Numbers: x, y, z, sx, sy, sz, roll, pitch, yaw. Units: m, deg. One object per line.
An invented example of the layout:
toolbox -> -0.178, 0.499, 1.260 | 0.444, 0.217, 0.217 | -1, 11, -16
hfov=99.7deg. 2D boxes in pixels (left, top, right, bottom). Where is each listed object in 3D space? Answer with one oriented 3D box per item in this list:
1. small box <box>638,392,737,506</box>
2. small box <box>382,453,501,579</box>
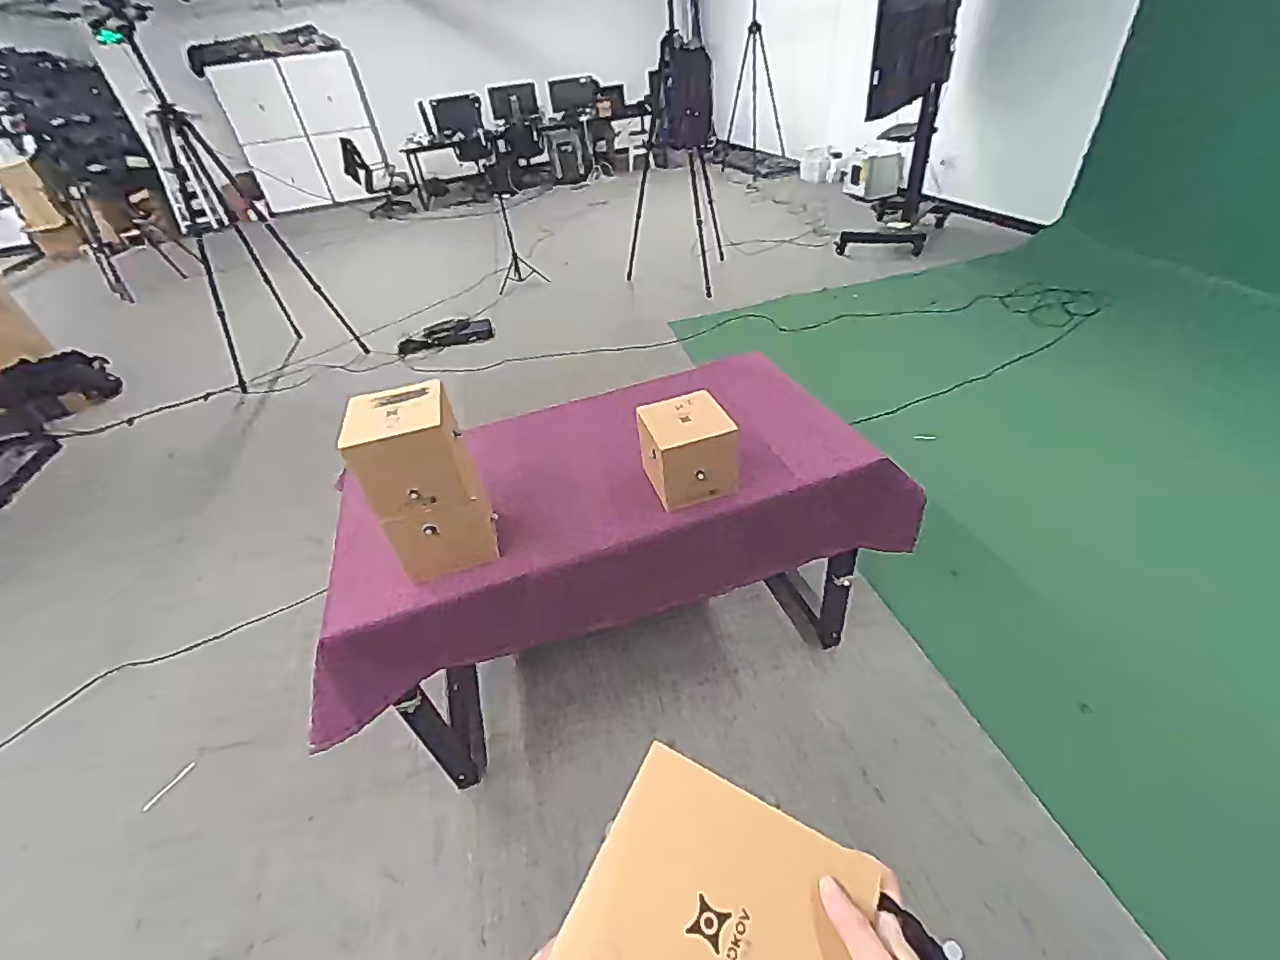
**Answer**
small box -> 0.104, -0.062, 1.173 | 0.168, 0.176, 0.179 | -15, 39, -9
small box -> -0.395, 0.075, 1.094 | 0.179, 0.176, 0.168 | -15, 39, -10
